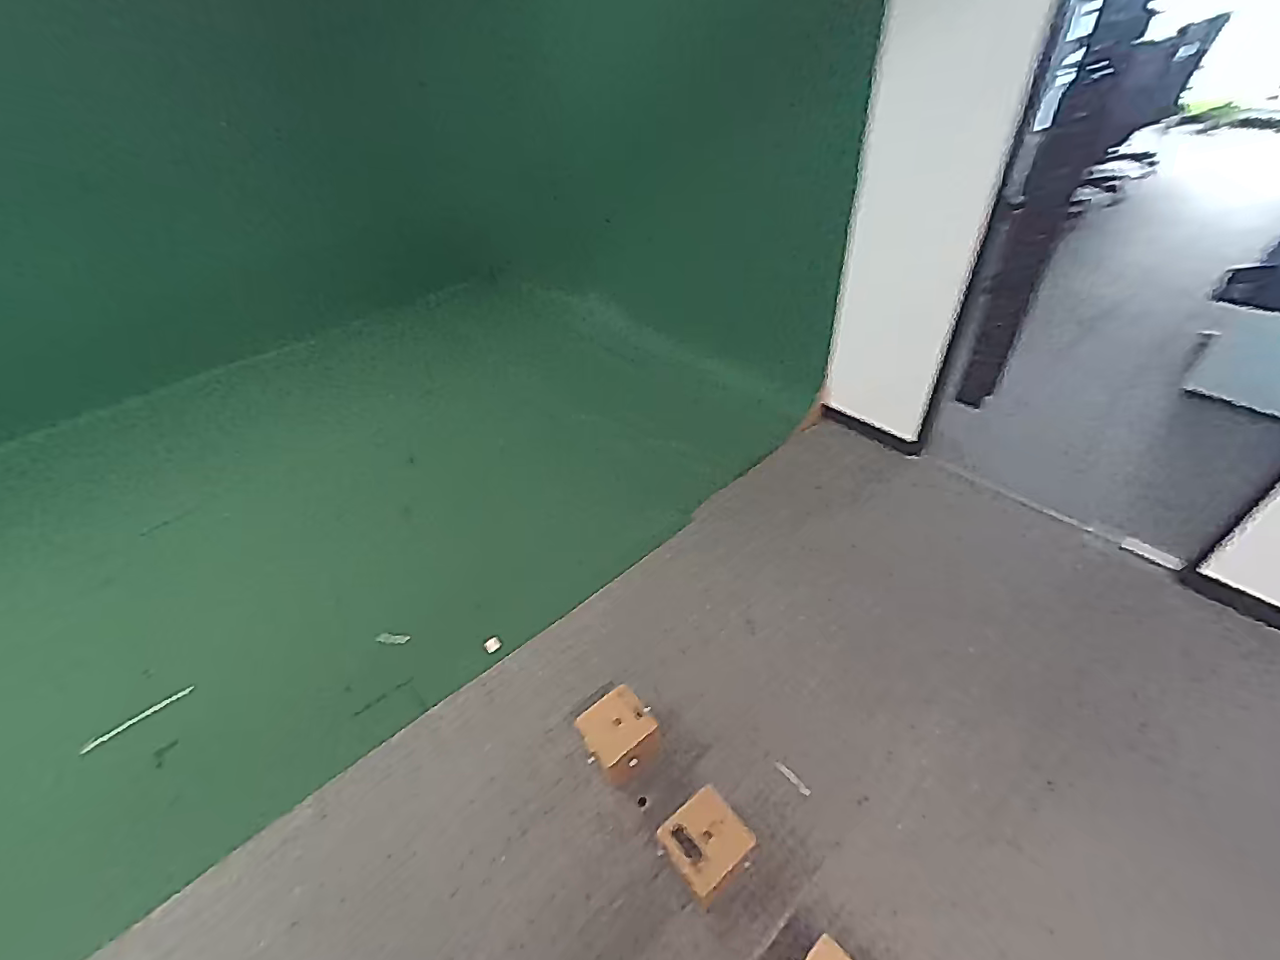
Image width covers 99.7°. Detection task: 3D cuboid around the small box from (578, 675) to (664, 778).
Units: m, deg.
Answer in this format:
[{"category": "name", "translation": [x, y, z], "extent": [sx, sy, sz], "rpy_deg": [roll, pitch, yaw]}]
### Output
[{"category": "small box", "translation": [-0.047, 0.701, 1.529], "extent": [0.179, 0.176, 0.168], "rpy_deg": [-31, 48, -23]}]

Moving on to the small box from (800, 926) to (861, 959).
[{"category": "small box", "translation": [0.393, 1.056, 1.086], "extent": [0.168, 0.176, 0.179], "rpy_deg": [-33, 48, -25]}]
